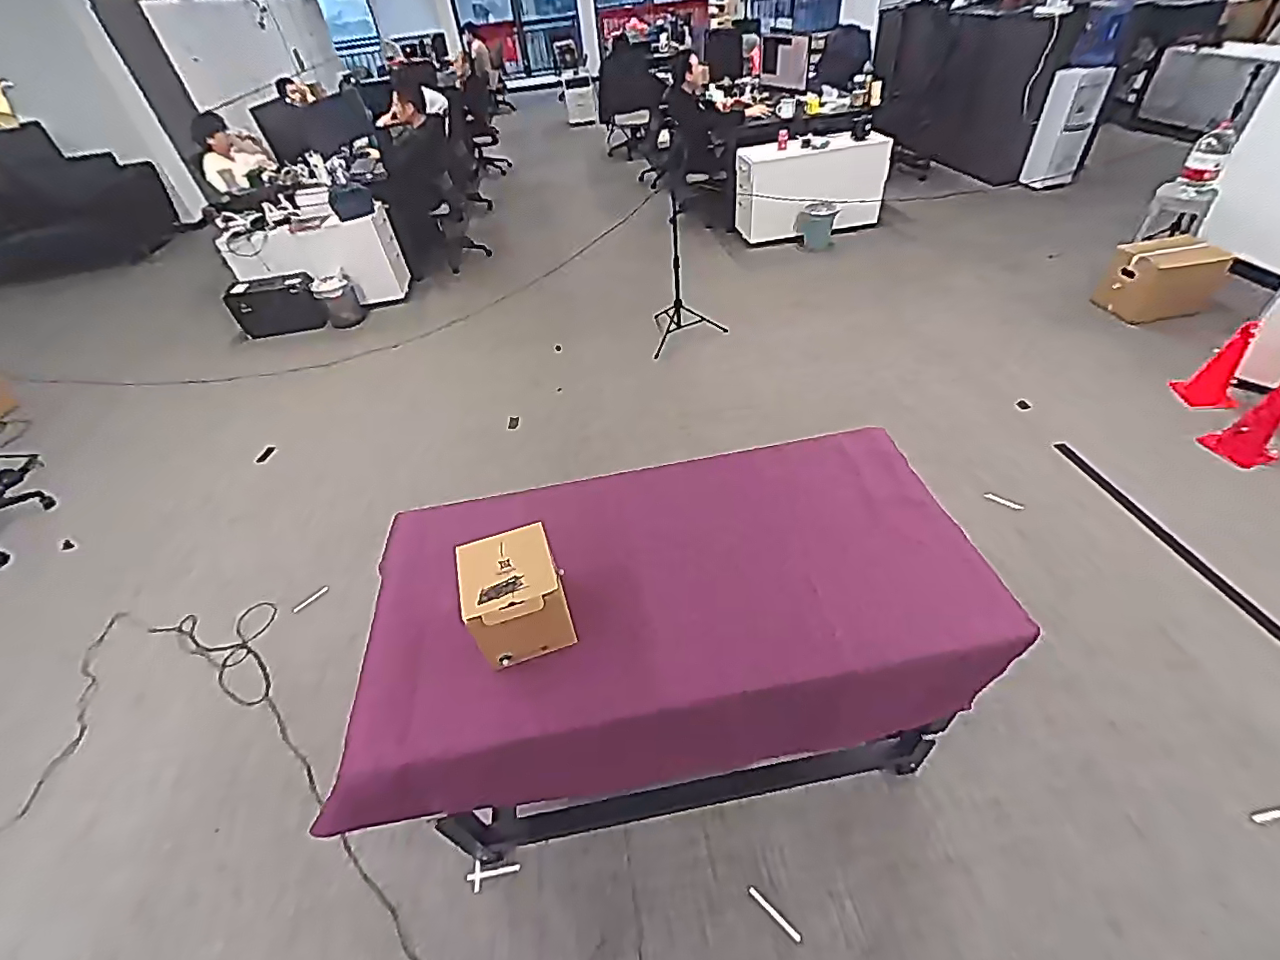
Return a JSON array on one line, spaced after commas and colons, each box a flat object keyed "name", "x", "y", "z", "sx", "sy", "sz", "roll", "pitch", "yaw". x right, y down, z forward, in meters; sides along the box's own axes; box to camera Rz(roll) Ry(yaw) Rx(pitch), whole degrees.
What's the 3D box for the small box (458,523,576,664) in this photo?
[{"name": "small box", "x": -0.225, "y": 0.216, "z": 1.001, "sx": 0.168, "sy": 0.176, "sz": 0.179, "roll": -16, "pitch": 43, "yaw": -10}]
